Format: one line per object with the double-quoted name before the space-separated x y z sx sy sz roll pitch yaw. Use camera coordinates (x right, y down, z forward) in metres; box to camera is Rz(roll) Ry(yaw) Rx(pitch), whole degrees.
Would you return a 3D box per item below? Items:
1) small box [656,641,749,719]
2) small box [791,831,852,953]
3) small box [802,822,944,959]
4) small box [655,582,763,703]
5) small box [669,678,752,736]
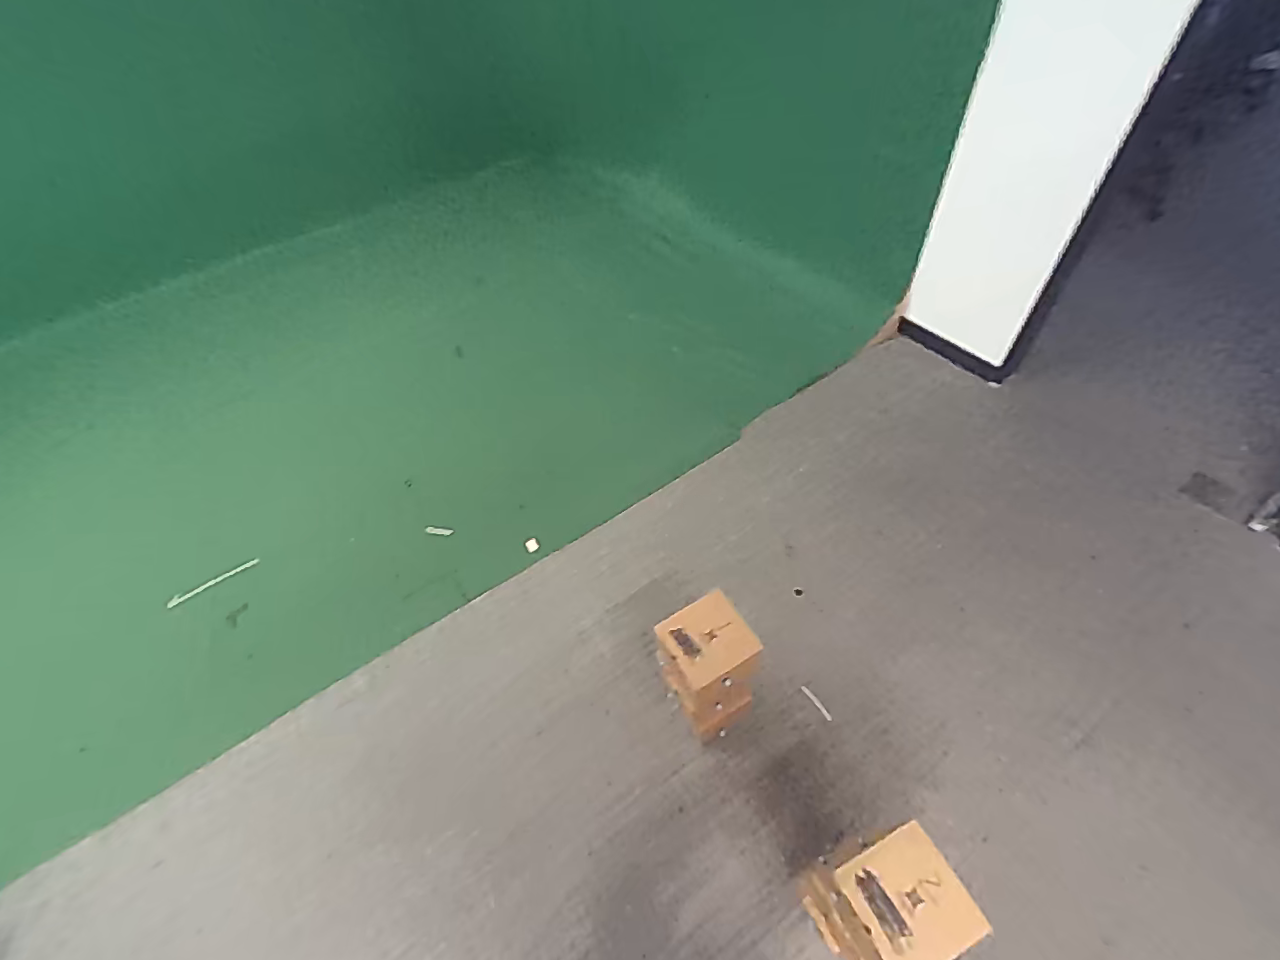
"small box" 0.160 0.463 1.343 0.179 0.176 0.168 -27 54 -11
"small box" 0.450 0.891 1.184 0.179 0.176 0.168 -21 51 -7
"small box" 0.439 0.799 1.053 0.179 0.176 0.168 -26 55 -11
"small box" 0.154 0.367 1.208 0.179 0.176 0.168 -27 54 -13
"small box" 0.184 0.562 1.471 0.168 0.176 0.179 -26 55 -11
